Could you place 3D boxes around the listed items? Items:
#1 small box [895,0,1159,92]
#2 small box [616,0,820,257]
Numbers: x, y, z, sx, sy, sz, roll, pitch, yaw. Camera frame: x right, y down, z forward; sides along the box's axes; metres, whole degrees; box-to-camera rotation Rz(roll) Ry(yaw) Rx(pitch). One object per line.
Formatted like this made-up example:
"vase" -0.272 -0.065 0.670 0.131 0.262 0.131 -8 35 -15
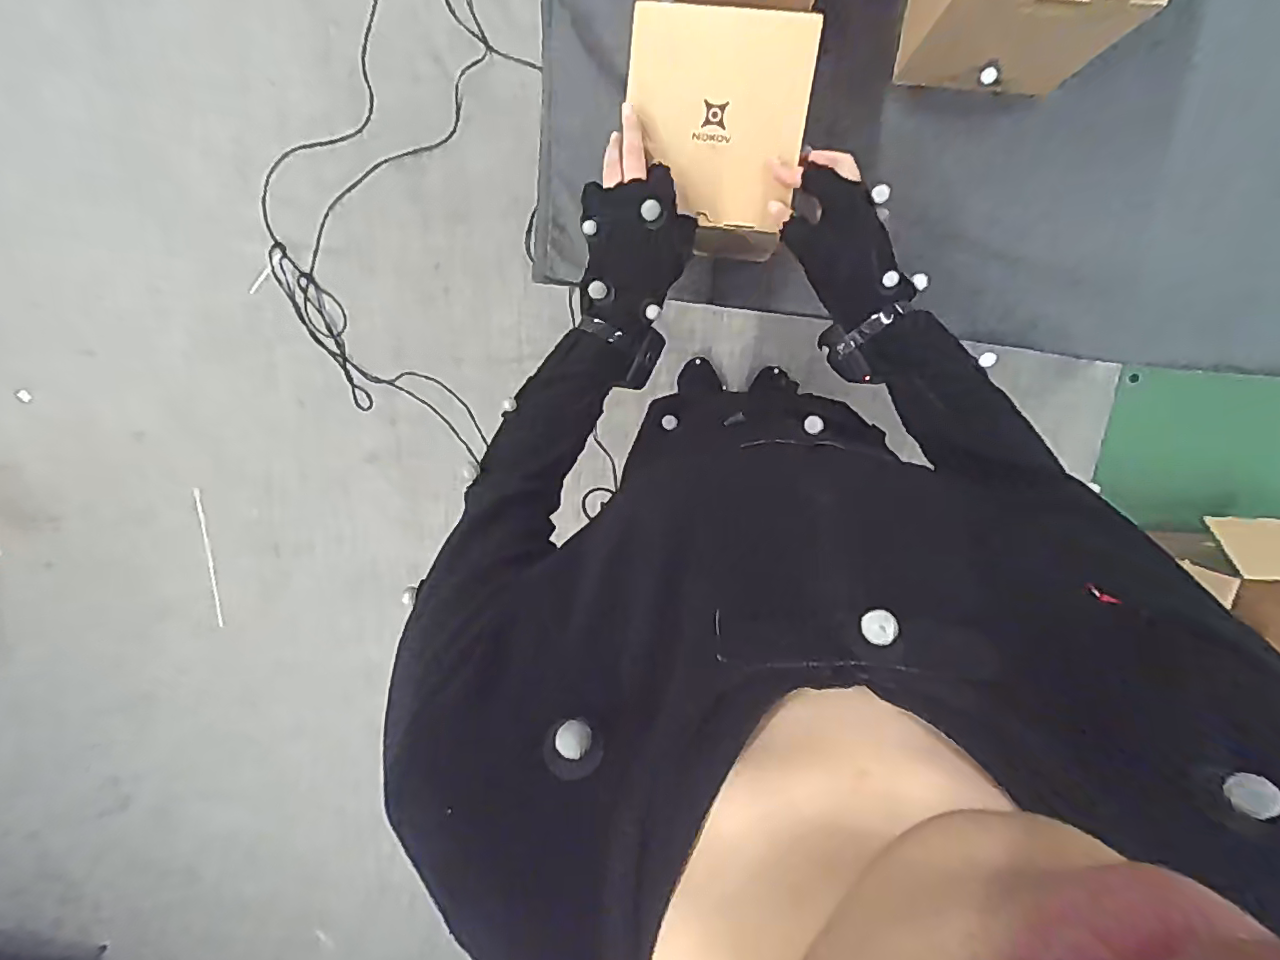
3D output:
"small box" 0.361 -0.502 0.501 0.168 0.176 0.179 8 105 4
"small box" 0.073 -0.347 0.568 0.168 0.176 0.179 7 105 3
